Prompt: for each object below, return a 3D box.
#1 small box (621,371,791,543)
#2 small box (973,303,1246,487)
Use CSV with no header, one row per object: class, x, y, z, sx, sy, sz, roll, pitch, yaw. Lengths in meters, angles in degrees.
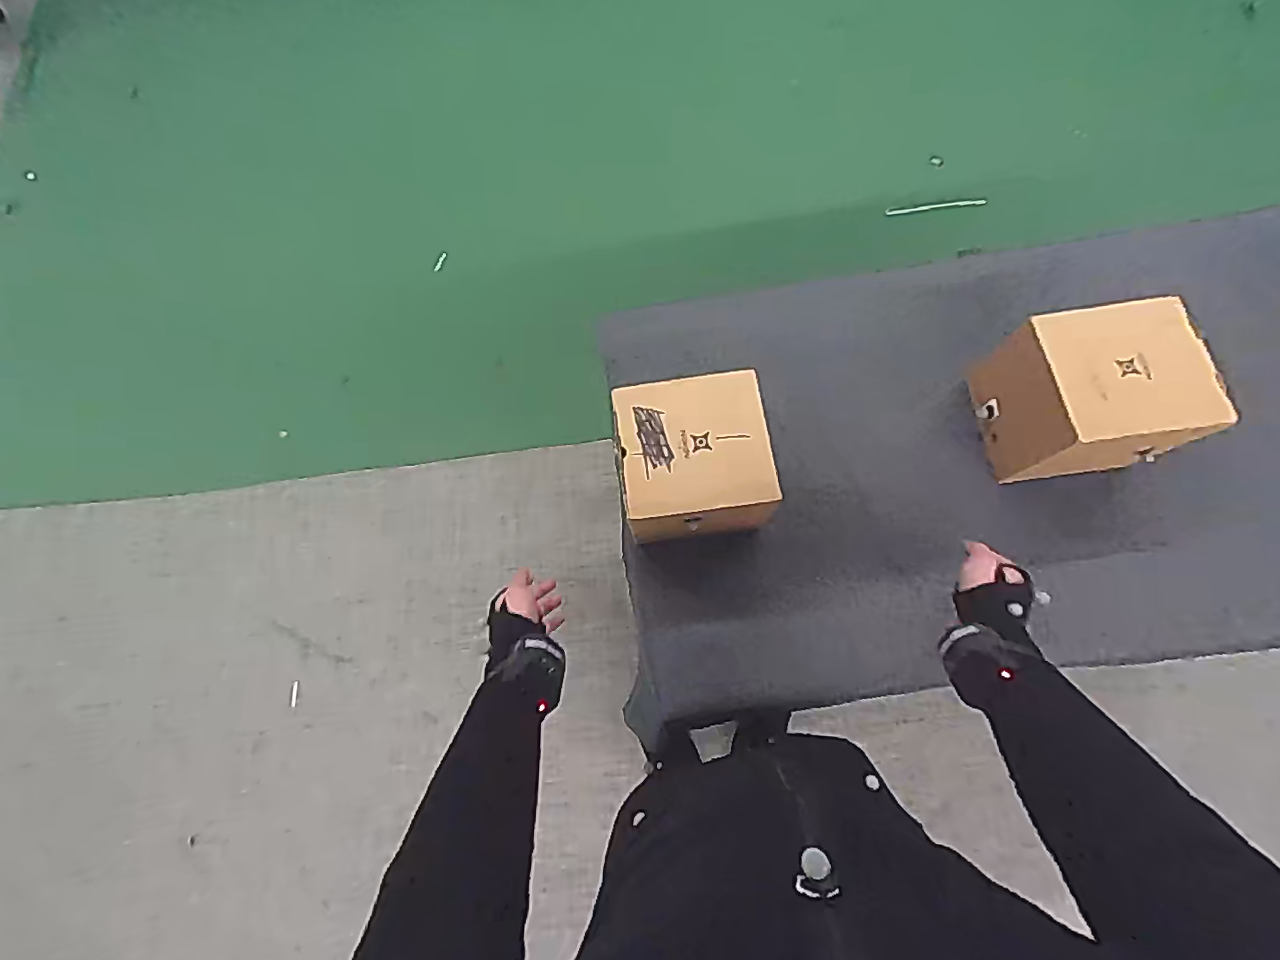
small box,0.076,-0.019,0.691,0.179,0.176,0.168,-7,74,0
small box,0.575,-0.098,0.692,0.179,0.176,0.168,-8,73,2
